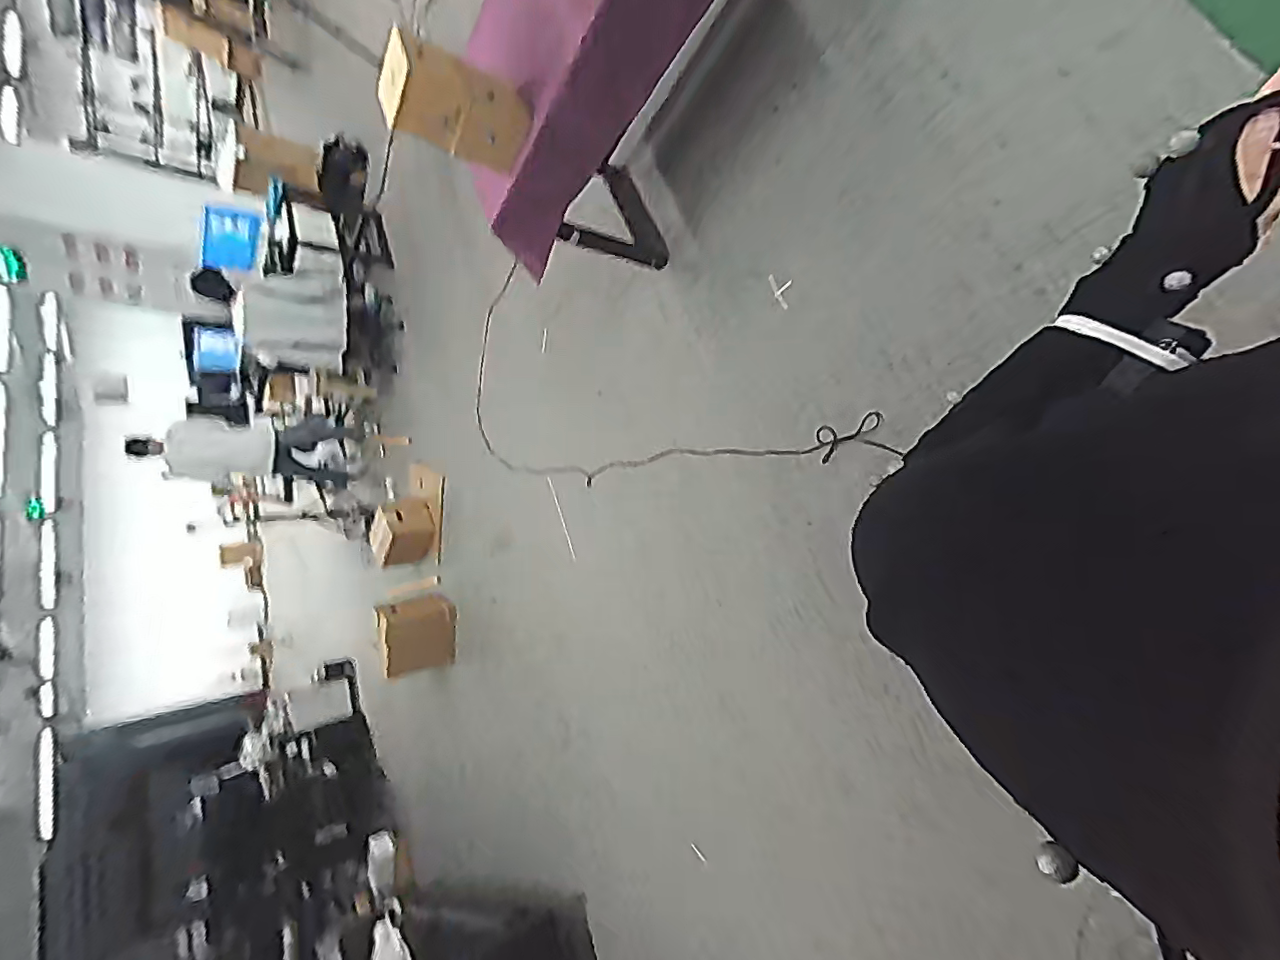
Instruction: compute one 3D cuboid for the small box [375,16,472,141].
[{"bbox_3d":[-0.554,-1.015,1.385,0.168,0.176,0.179,-40,64,41],"label":"small box"}]
